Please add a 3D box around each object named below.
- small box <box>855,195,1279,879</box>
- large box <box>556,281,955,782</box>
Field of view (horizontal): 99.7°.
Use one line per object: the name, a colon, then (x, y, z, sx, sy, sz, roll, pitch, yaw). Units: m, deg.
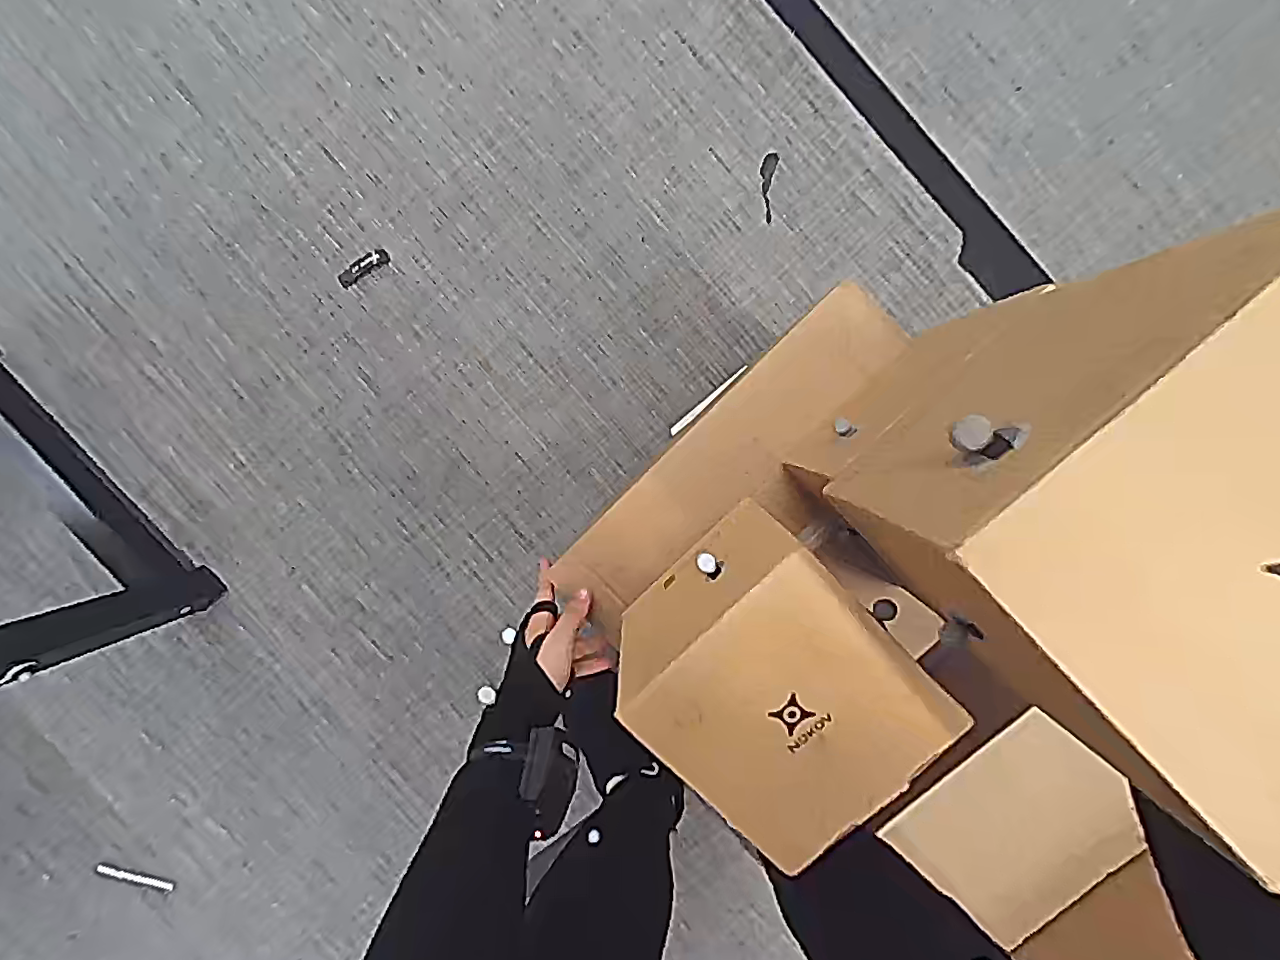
small box: (0.226, 0.011, 0.248, 0.179, 0.176, 0.168, -44, 91, 7)
large box: (0.167, 0.045, 0.665, 0.408, 0.320, 0.320, -45, 91, 6)
